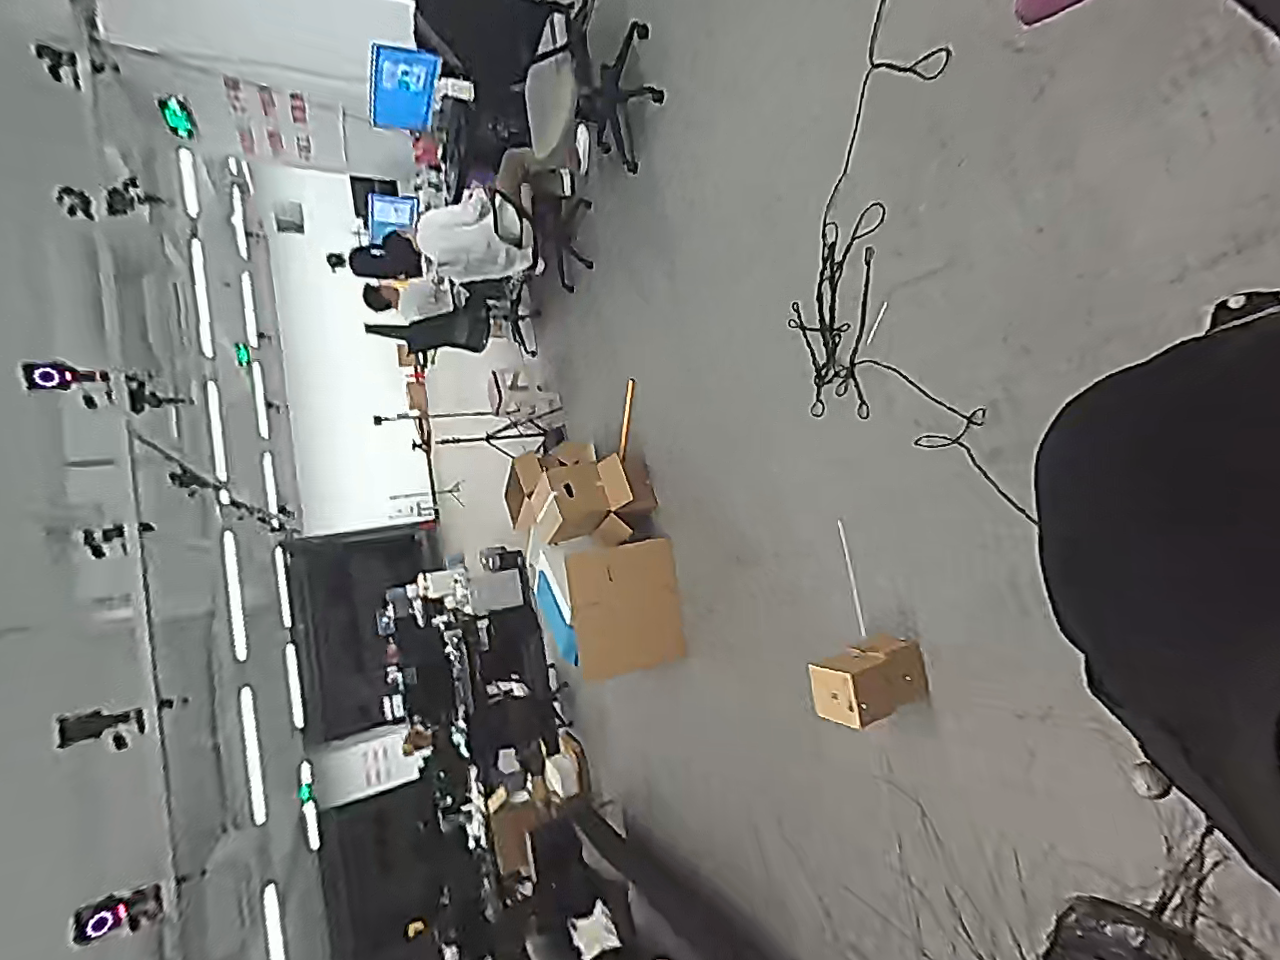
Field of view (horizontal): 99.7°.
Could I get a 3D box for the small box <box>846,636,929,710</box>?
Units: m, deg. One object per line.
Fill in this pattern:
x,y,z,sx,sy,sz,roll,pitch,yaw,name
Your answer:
0.811,0.623,1.772,0.168,0.176,0.179,-18,81,62,small box

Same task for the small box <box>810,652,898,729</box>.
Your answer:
0.669,0.649,1.694,0.179,0.176,0.168,-16,83,63,small box
